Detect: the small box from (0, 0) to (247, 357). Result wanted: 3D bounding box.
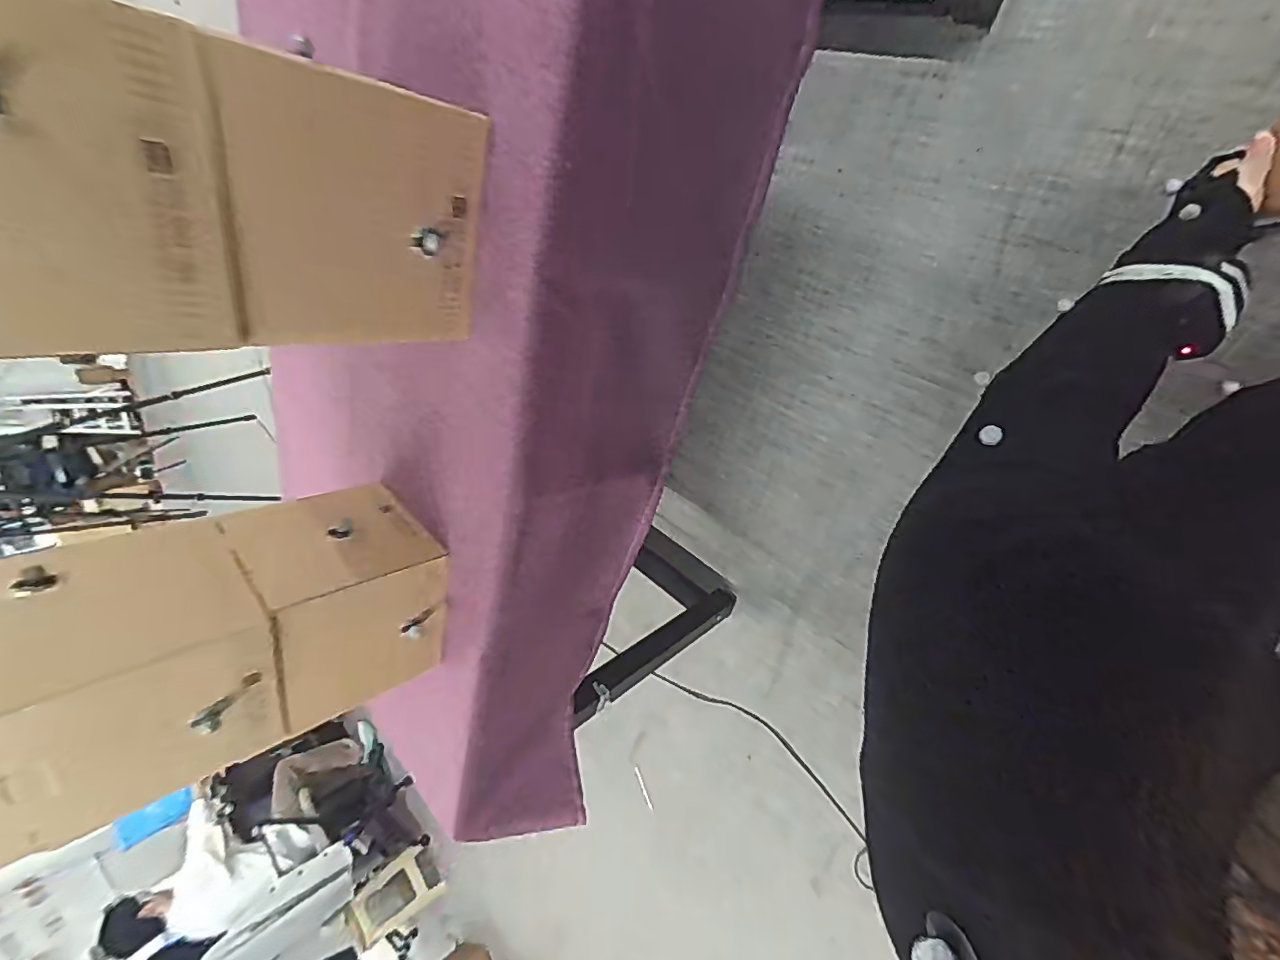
[{"bbox_3d":[-0.337,-0.176,0.294,0.179,0.176,0.168,35,123,30],"label":"small box"}]

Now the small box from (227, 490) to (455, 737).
[{"bbox_3d":[-0.325,0.131,0.601,0.168,0.176,0.179,33,122,32],"label":"small box"}]

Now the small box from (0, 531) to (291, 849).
[{"bbox_3d":[-0.437,0.163,0.484,0.179,0.176,0.168,34,124,30],"label":"small box"}]

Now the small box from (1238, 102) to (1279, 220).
[{"bbox_3d":[0.582,-0.259,0.363,0.168,0.176,0.179,14,121,12],"label":"small box"}]

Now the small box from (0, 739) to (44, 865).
[{"bbox_3d":[-0.545,0.193,0.364,0.168,0.176,0.179,36,123,30],"label":"small box"}]
